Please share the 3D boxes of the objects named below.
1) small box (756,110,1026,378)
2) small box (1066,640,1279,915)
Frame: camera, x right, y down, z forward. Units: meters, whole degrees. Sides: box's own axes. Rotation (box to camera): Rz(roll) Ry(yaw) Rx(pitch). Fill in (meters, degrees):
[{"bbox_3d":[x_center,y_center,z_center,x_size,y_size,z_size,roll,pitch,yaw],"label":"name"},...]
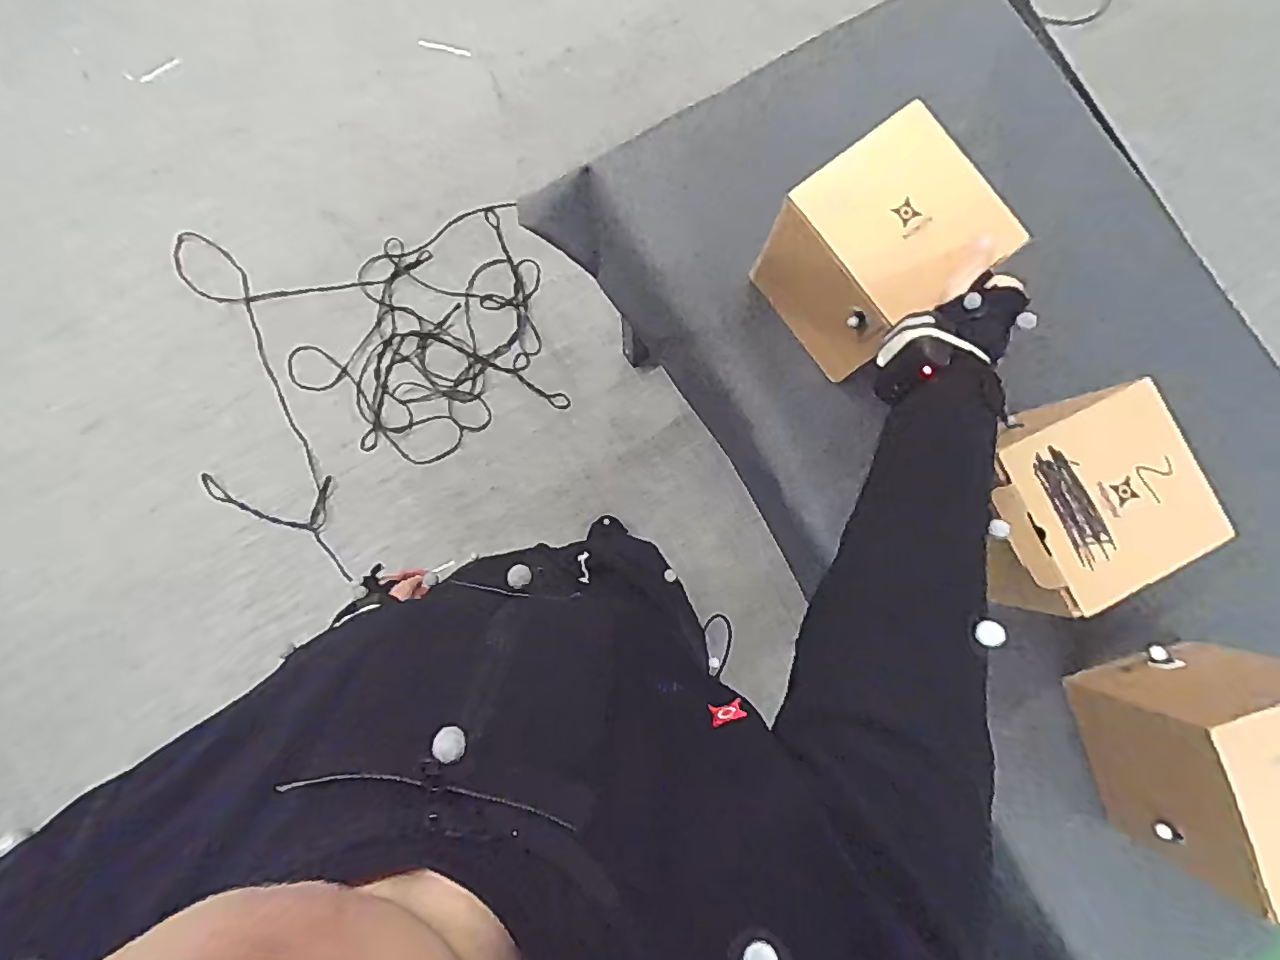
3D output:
[{"bbox_3d":[0.254,-0.241,0.597,0.168,0.176,0.179,-37,88,-4],"label":"small box"},{"bbox_3d":[0.606,0.287,0.564,0.168,0.176,0.179,-15,85,-3],"label":"small box"}]
